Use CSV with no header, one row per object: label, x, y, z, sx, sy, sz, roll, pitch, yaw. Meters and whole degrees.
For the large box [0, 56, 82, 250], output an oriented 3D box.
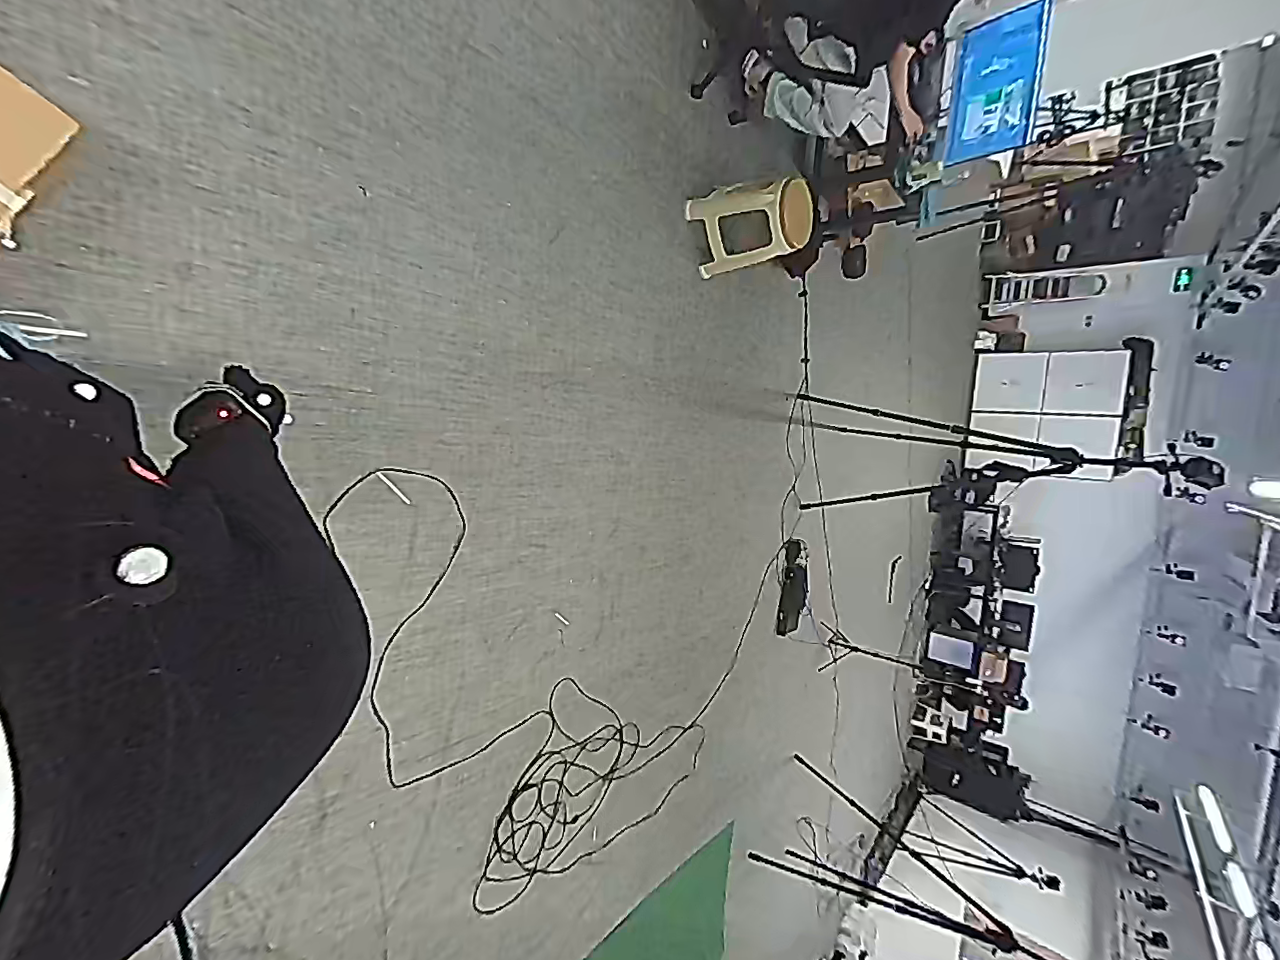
large box,-1.120,-0.520,0.740,0.408,0.320,0.320,40,66,-45
